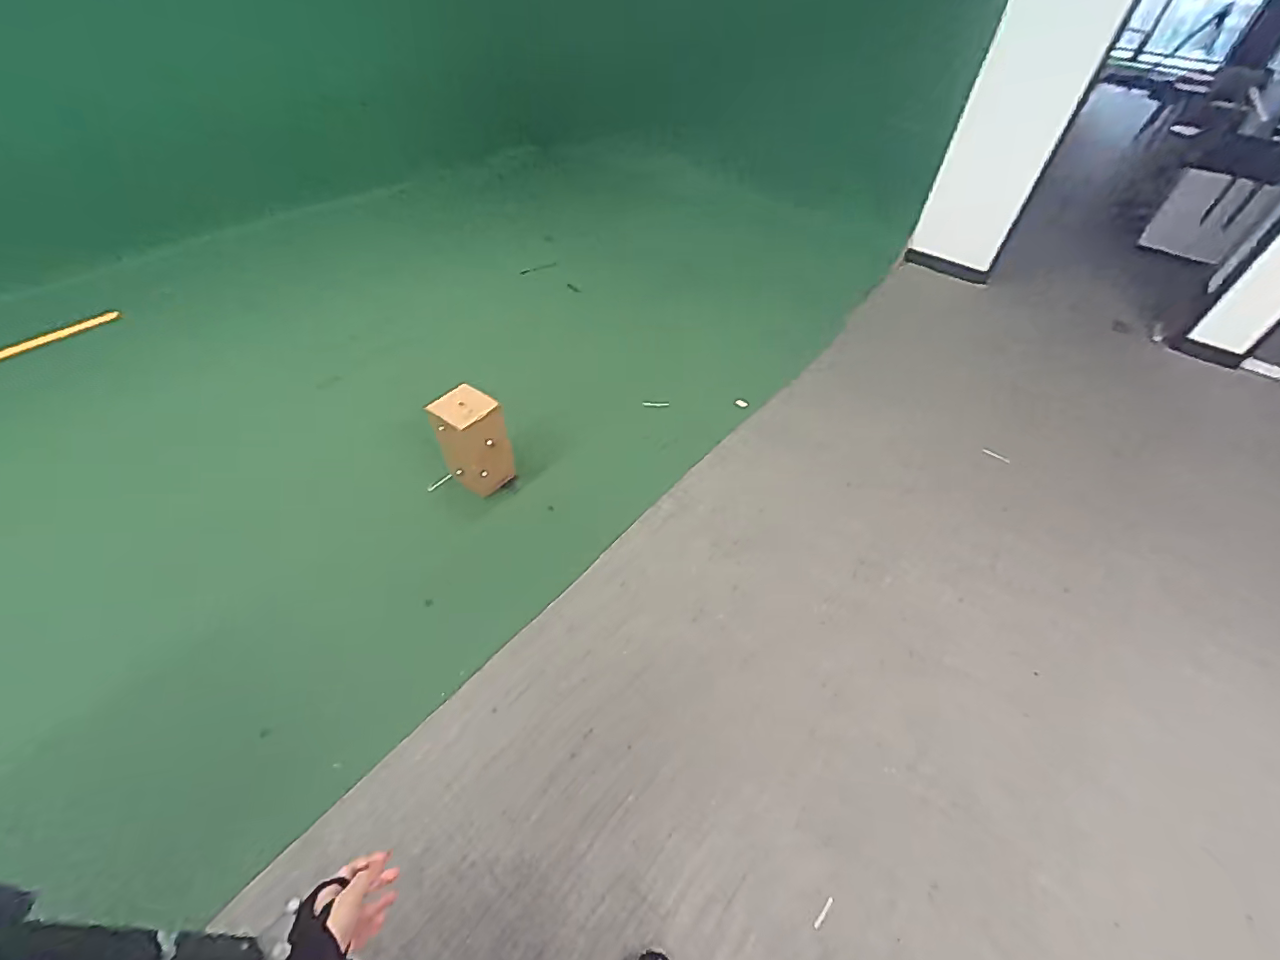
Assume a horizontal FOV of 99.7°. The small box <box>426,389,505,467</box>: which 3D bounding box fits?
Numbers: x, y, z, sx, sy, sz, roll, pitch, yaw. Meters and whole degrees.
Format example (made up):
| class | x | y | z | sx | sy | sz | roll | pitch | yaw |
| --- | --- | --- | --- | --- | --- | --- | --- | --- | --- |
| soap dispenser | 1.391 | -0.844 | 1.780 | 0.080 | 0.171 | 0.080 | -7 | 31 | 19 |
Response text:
| class | x | y | z | sx | sy | sz | roll | pitch | yaw |
| --- | --- | --- | --- | --- | --- | --- | --- | --- | --- |
| small box | -0.581 | -0.173 | 1.818 | 0.179 | 0.176 | 0.168 | 30 | 54 | 23 |
